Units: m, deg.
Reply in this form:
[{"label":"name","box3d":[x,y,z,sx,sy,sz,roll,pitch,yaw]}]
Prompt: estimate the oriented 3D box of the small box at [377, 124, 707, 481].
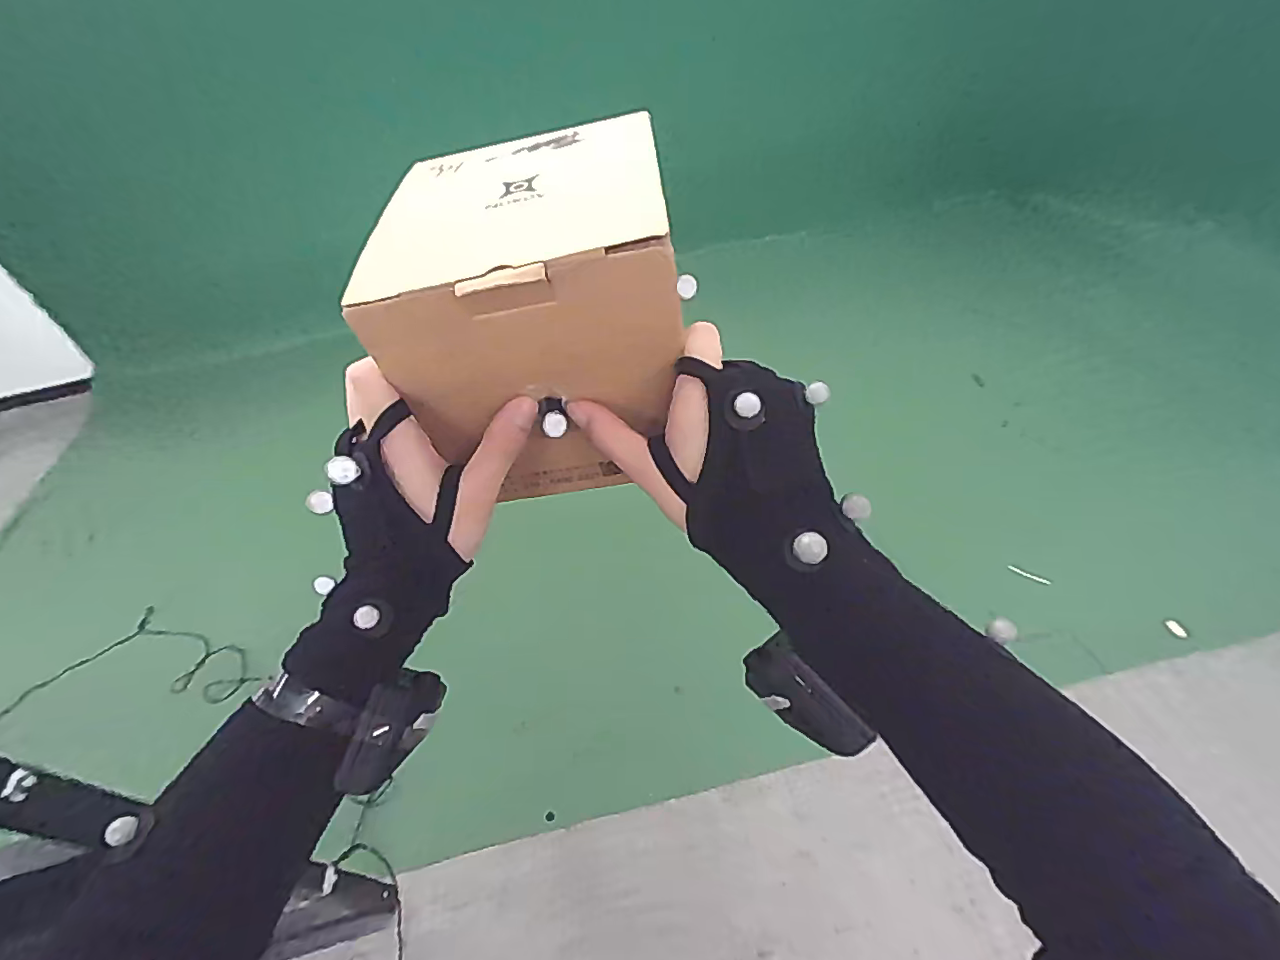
[{"label":"small box","box3d":[-0.047,-0.113,0.385,0.168,0.176,0.179,-8,51,6]}]
